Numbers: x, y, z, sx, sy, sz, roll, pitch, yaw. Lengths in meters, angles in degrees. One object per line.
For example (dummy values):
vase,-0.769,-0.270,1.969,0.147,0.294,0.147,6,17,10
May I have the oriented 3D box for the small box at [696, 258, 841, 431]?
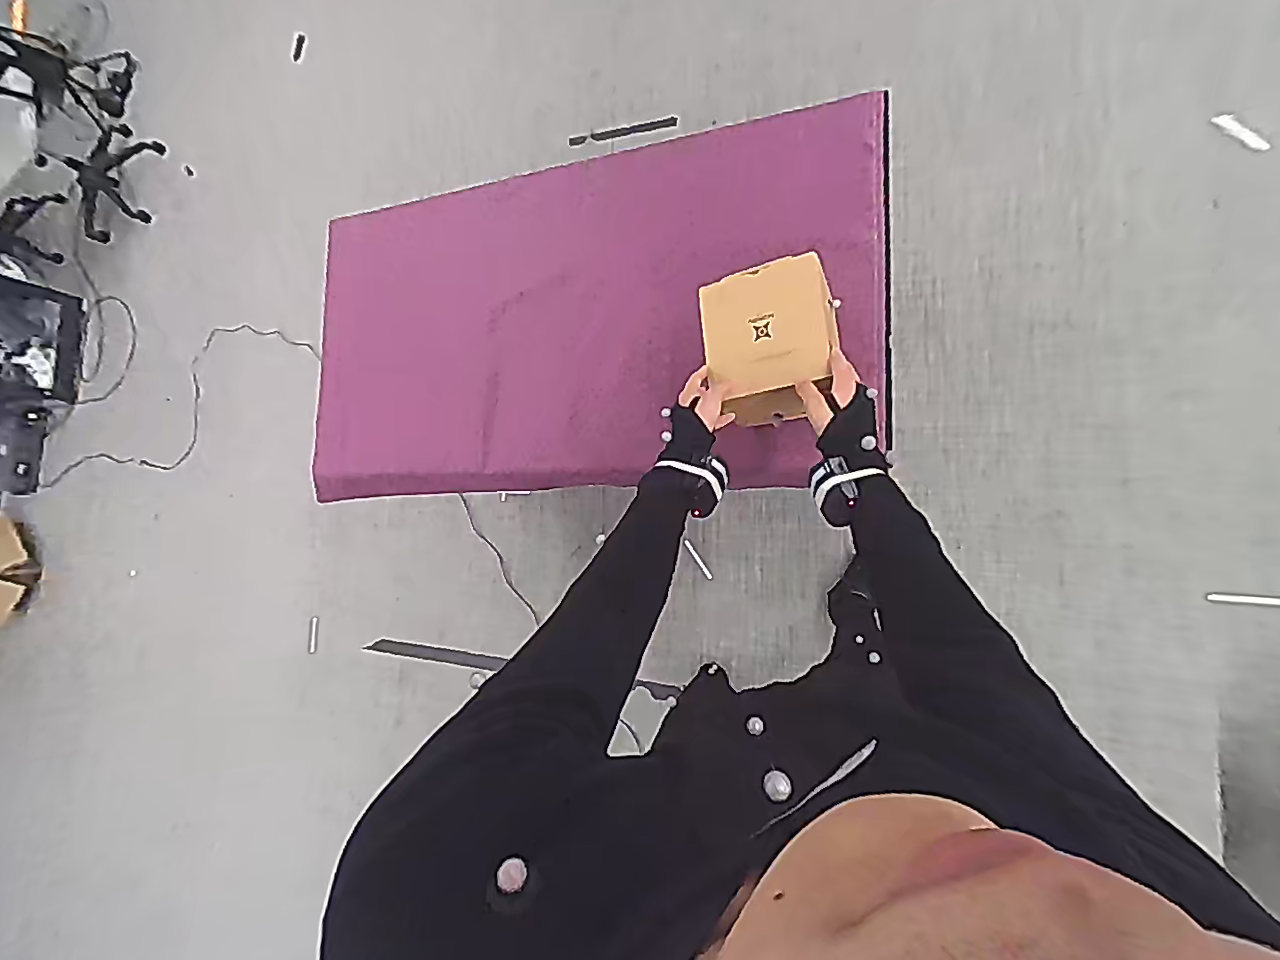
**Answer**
small box,0.193,-0.186,0.796,0.168,0.176,0.179,-9,78,26
